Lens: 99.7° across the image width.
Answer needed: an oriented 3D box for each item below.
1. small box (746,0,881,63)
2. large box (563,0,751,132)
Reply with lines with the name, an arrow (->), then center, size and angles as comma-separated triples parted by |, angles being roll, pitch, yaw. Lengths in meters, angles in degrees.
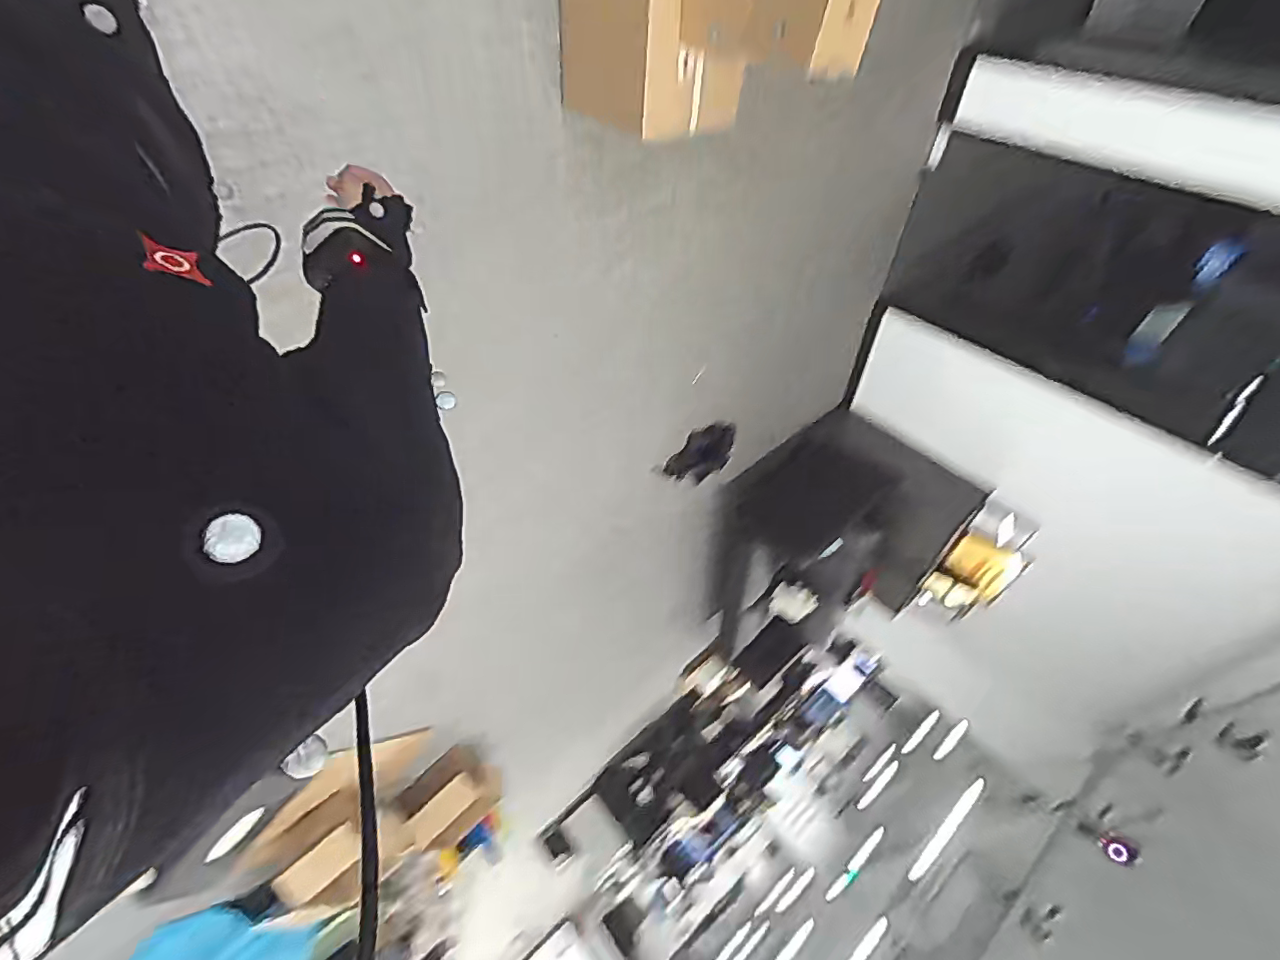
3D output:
small box -> 0.314, -0.868, 0.961 | 0.168, 0.176, 0.179 | -28, 144, -33
large box -> 0.037, -1.059, 1.196 | 0.320, 0.320, 0.408 | -29, 146, -28
